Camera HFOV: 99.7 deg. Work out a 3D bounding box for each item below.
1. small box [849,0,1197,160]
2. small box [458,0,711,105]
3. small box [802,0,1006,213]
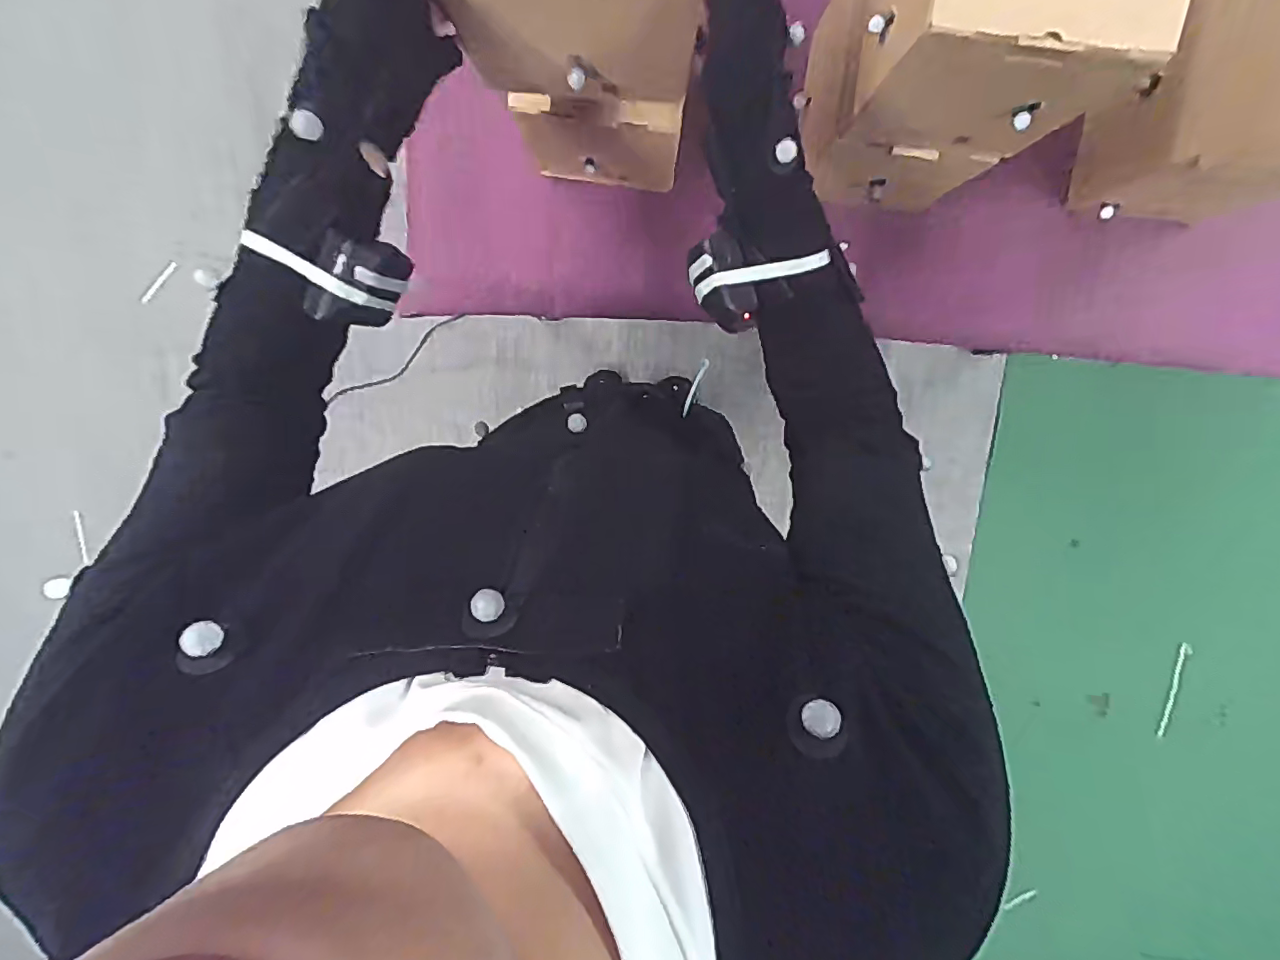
[{"bbox_3d":[0.278,-0.372,0.412,0.168,0.176,0.179,6,101,-1],"label":"small box"},{"bbox_3d":[-0.035,-0.379,0.342,0.168,0.176,0.179,4,104,-2],"label":"small box"},{"bbox_3d":[0.279,-0.400,0.578,0.168,0.176,0.179,5,102,3],"label":"small box"}]
